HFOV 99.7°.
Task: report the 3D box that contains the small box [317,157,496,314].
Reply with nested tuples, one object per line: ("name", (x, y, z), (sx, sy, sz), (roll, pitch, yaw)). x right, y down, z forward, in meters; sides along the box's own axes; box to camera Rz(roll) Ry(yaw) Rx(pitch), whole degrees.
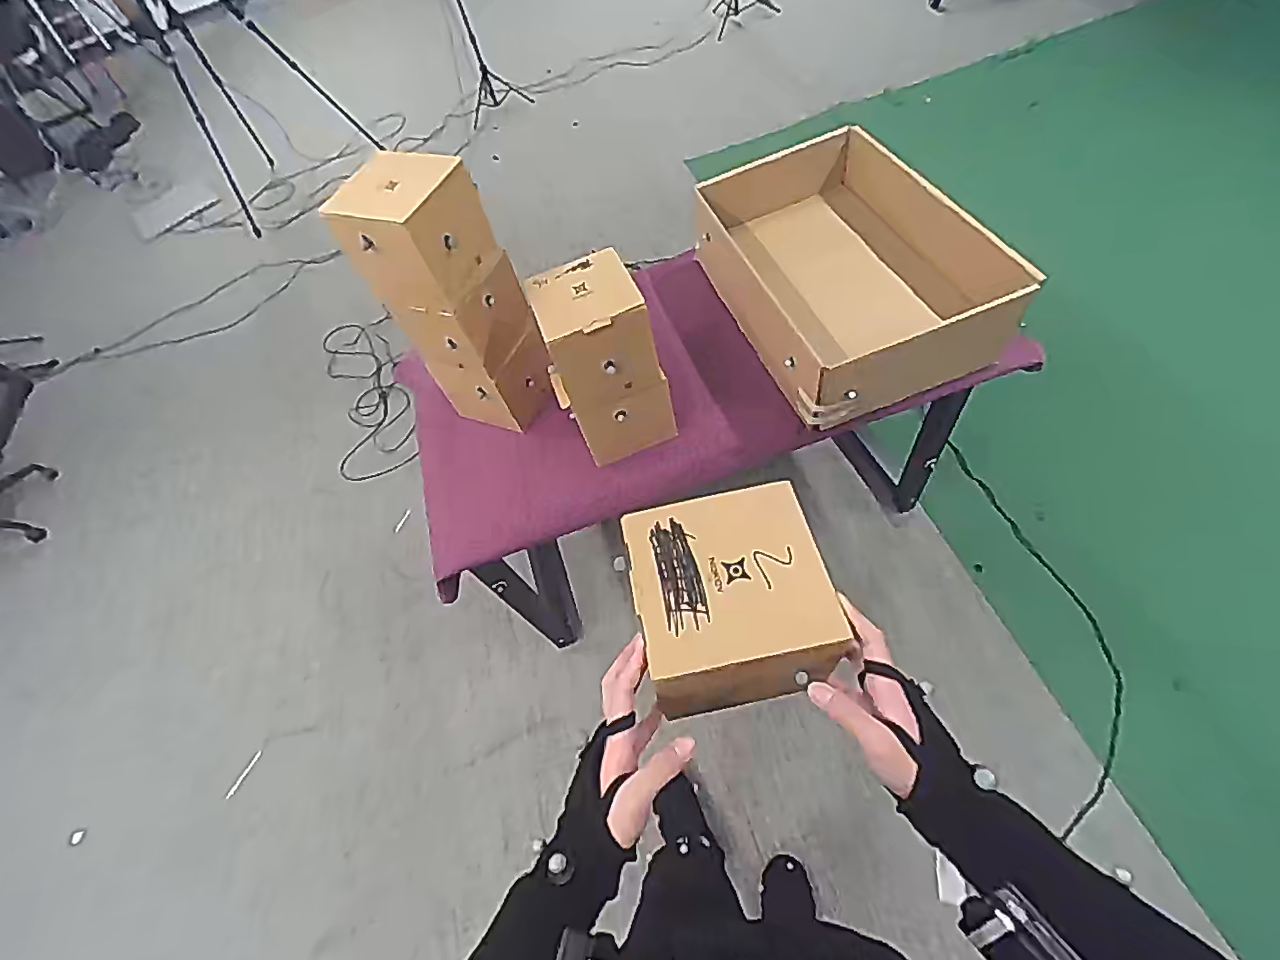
("small box", (-0.367, -0.396, 0.889), (0.179, 0.176, 0.168), (15, 63, 19))

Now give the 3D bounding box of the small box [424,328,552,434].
("small box", (-0.313, -0.221, 1.156), (0.179, 0.176, 0.168), (16, 62, 20))

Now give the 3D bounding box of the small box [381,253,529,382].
("small box", (-0.336, -0.312, 1.023), (0.168, 0.176, 0.179), (17, 63, 19))

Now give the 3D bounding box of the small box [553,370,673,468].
("small box", (-0.050, -0.151, 1.056), (0.179, 0.176, 0.168), (-22, 55, -3))

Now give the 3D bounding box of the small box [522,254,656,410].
("small box", (-0.081, -0.242, 0.924), (0.168, 0.176, 0.179), (-21, 56, -3))
